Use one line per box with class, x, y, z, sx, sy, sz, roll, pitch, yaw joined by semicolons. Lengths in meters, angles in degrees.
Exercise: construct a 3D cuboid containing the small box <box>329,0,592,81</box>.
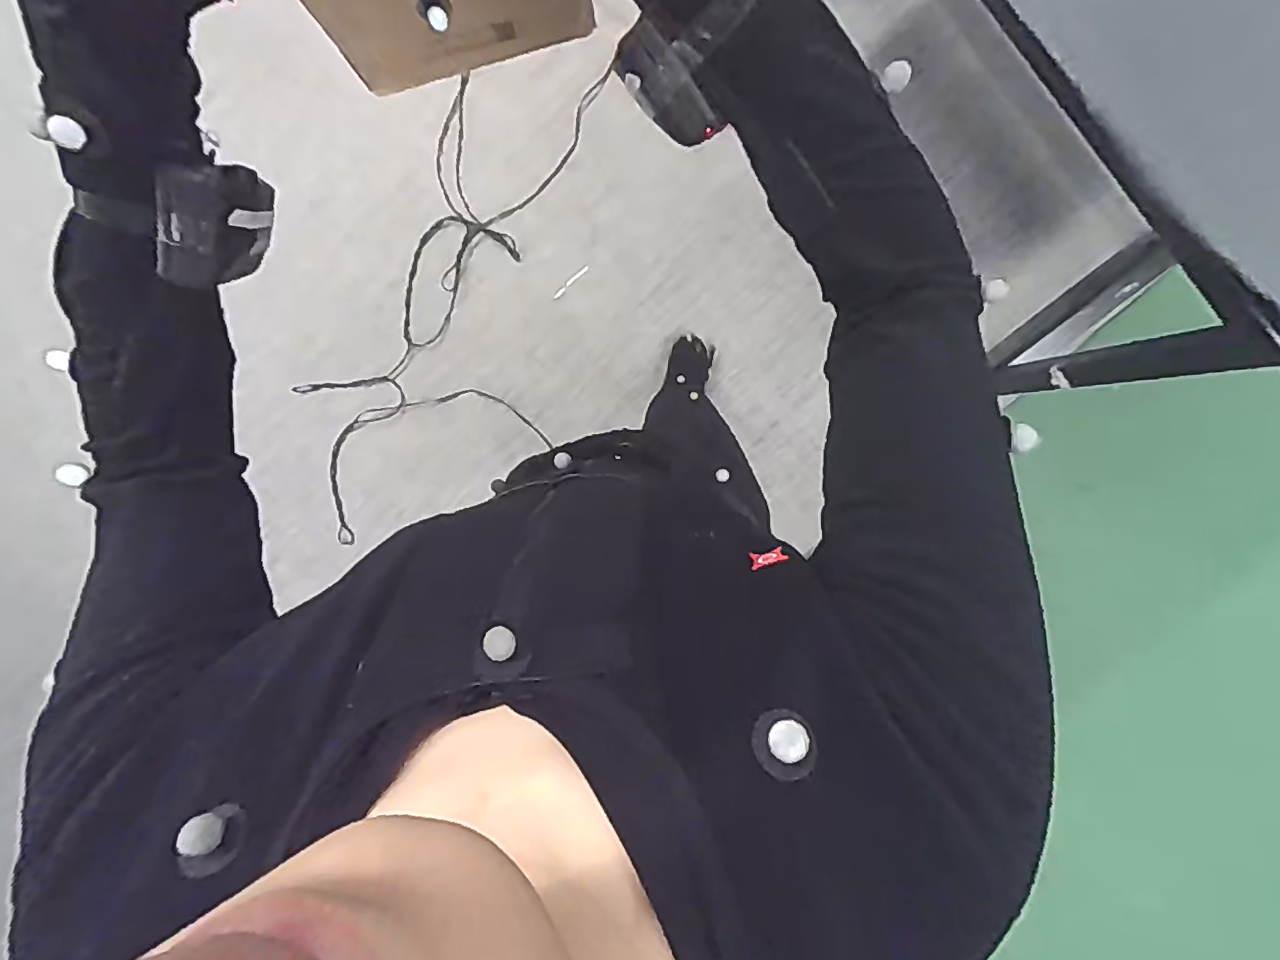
small box;-0.132;-0.383;0.305;0.168;0.176;0.179;-14;91;3
